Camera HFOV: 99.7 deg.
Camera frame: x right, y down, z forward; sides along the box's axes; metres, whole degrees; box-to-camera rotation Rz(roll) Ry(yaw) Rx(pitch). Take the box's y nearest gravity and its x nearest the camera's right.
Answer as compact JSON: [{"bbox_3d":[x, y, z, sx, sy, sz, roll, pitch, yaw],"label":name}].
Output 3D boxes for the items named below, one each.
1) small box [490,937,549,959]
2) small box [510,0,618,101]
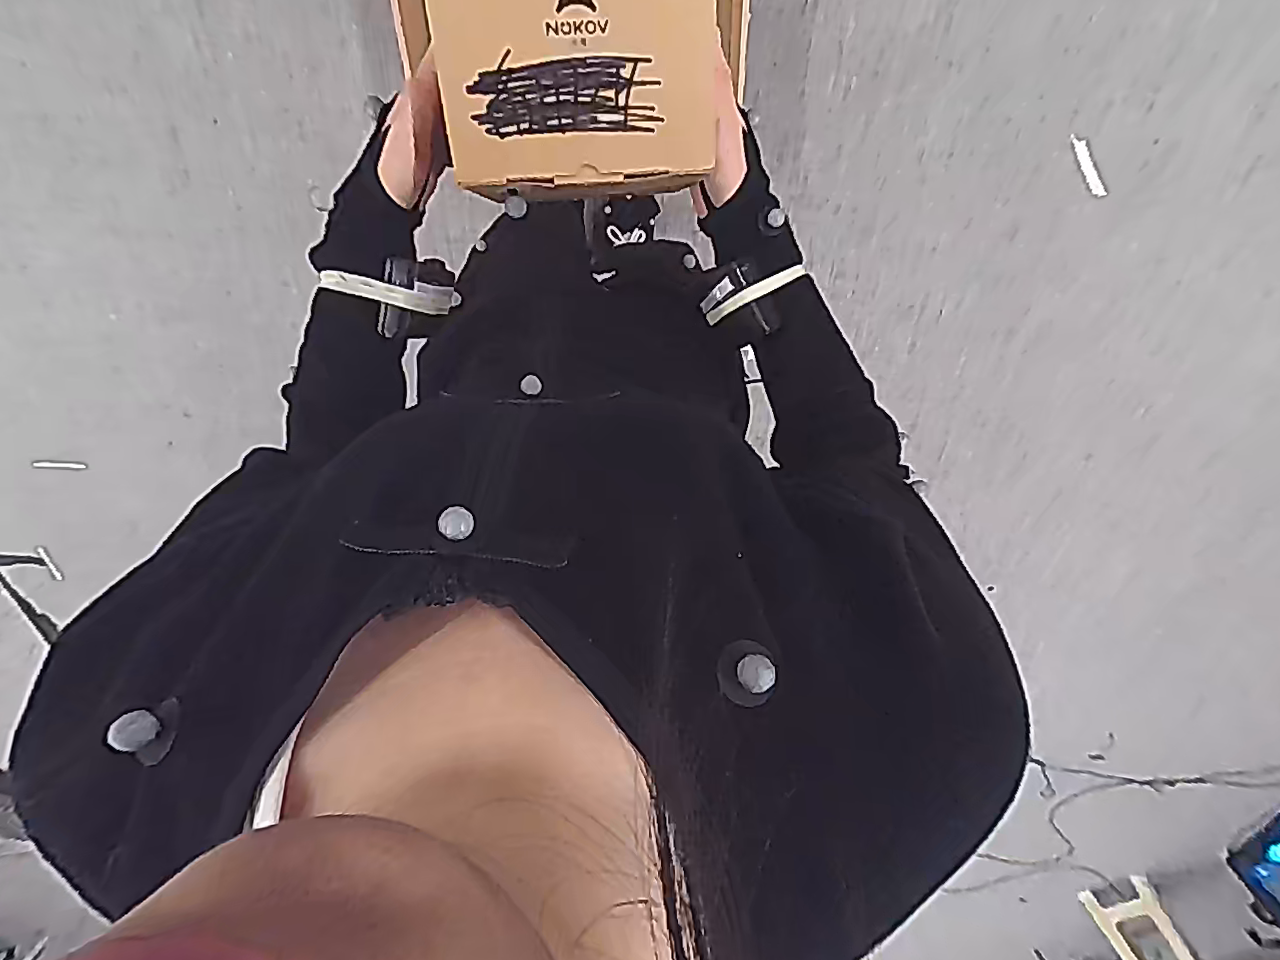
[{"bbox_3d":[-0.356,1.462,1.566,0.168,0.176,0.179,4,122,-3],"label":"small box"},{"bbox_3d":[-0.134,-0.822,0.999,0.168,0.176,0.179,-5,121,4],"label":"small box"}]
